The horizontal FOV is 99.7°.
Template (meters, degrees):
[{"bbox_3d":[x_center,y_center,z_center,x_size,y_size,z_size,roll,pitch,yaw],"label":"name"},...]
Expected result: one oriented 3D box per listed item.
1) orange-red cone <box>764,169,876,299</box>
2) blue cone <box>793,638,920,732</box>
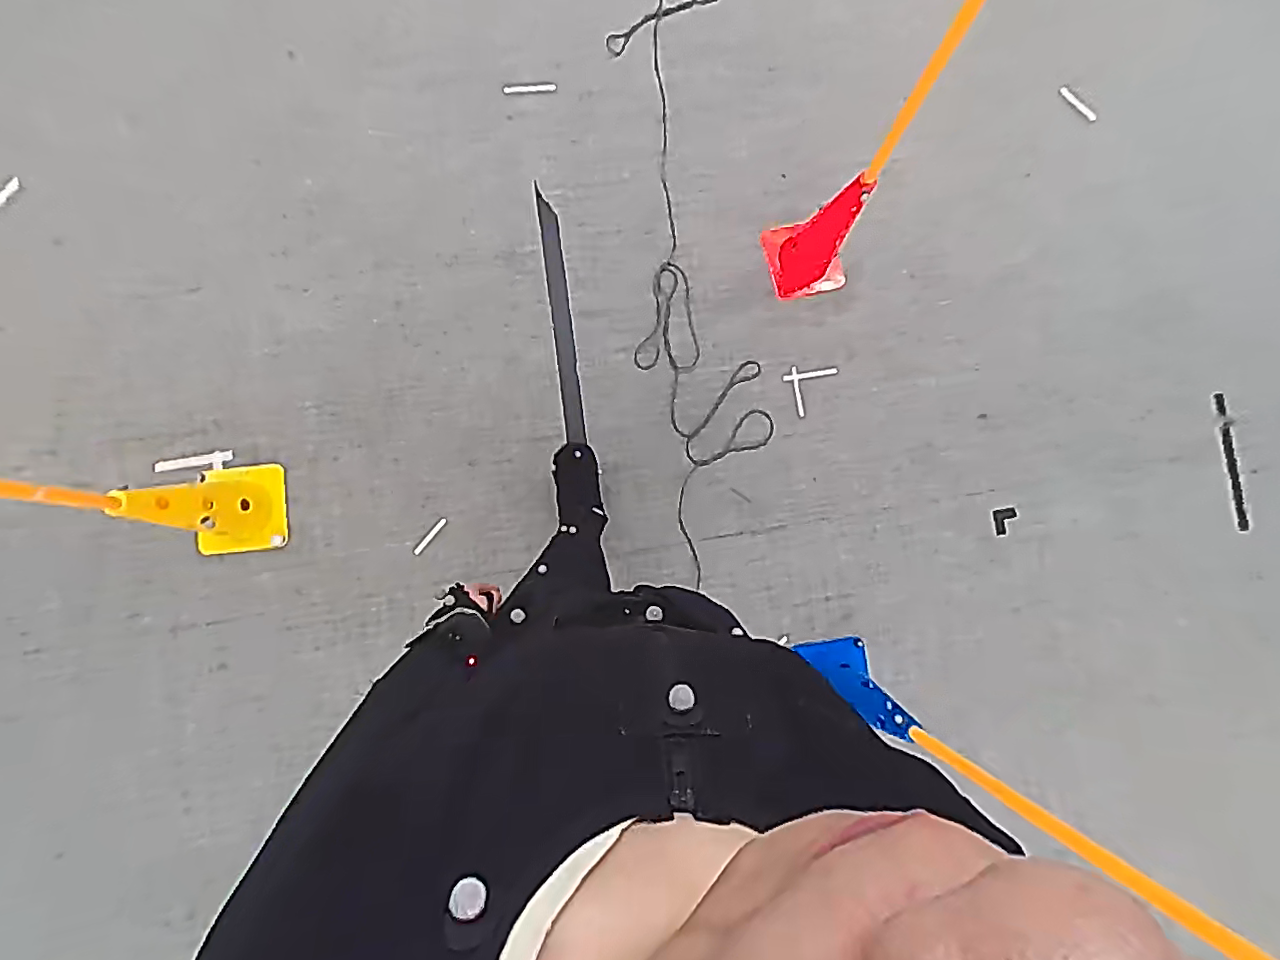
[{"bbox_3d":[0.461,-0.613,1.300,0.199,0.360,0.198,-13,86,-5],"label":"orange-red cone"},{"bbox_3d":[0.506,0.493,1.215,0.193,0.380,0.192,-5,85,-6],"label":"blue cone"}]
